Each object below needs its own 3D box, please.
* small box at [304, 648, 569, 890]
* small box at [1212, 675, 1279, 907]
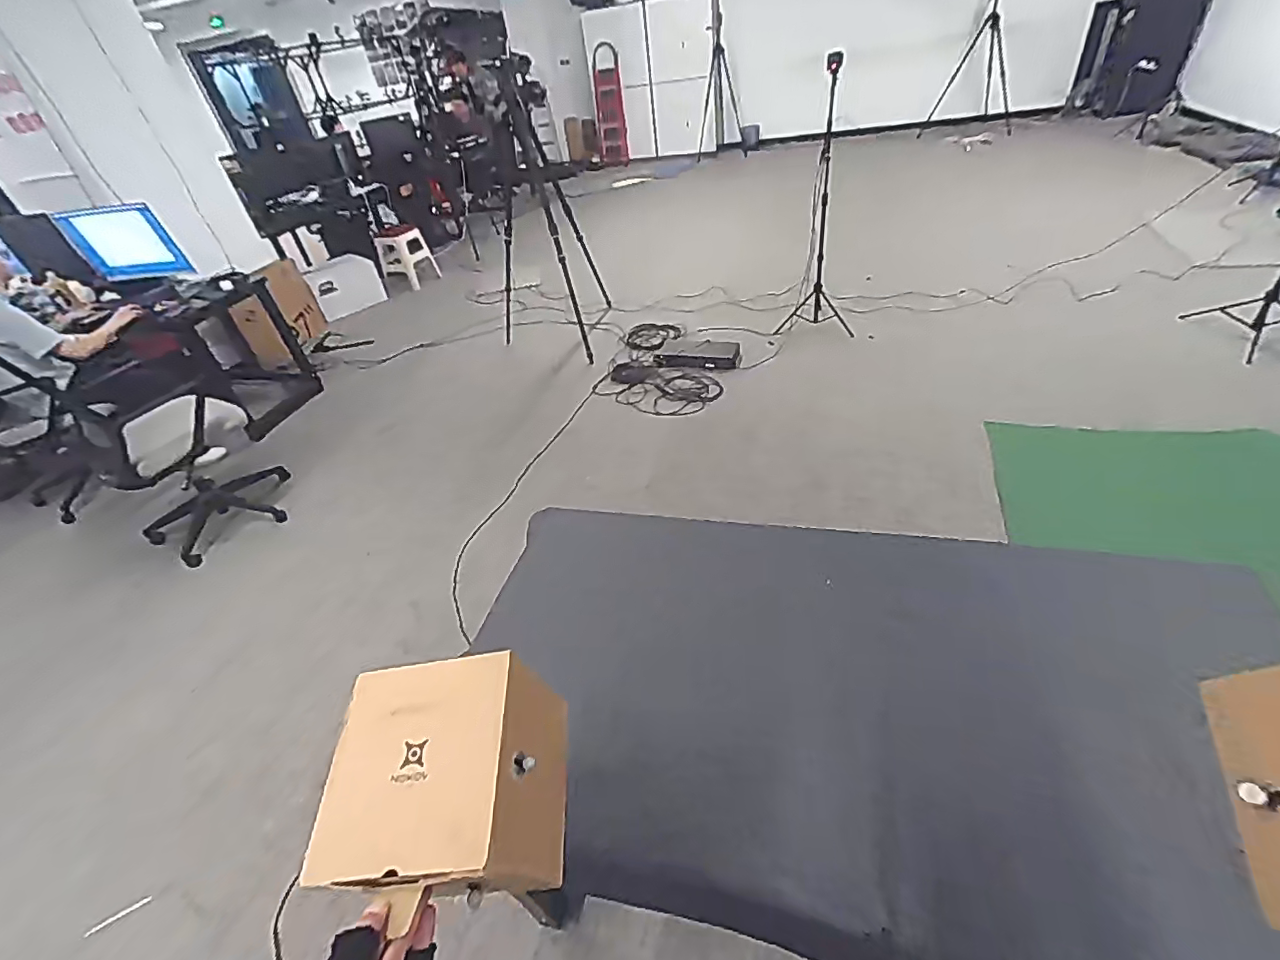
[{"bbox_3d":[-0.174,0.289,0.530,0.168,0.176,0.179,-11,48,8],"label":"small box"},{"bbox_3d":[0.540,0.225,0.343,0.168,0.176,0.179,6,63,12],"label":"small box"}]
